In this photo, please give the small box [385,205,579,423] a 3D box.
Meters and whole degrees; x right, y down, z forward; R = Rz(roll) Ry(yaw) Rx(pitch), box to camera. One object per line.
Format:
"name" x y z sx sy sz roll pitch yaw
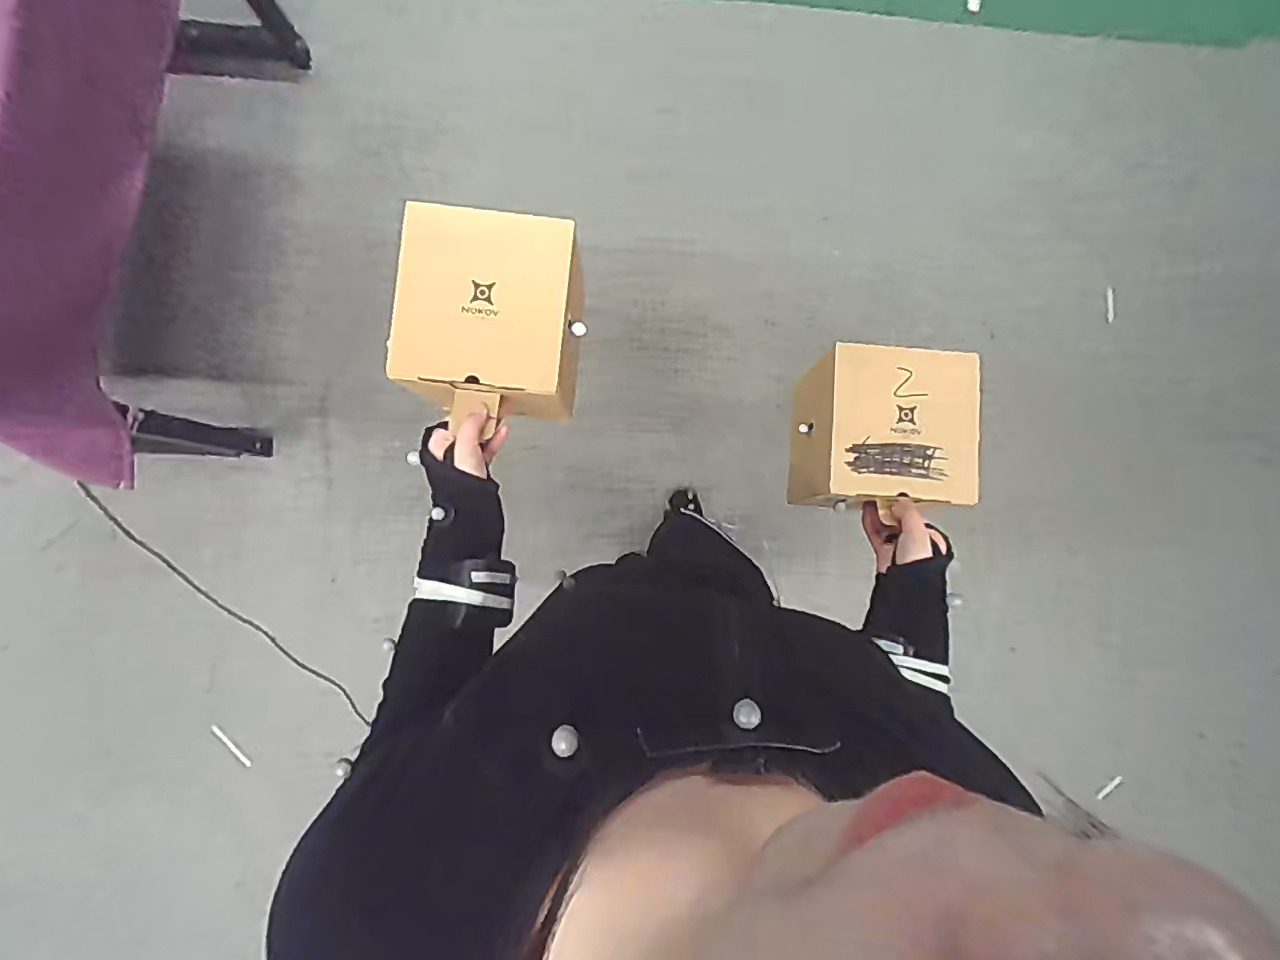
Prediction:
"small box" -0.159 -0.169 0.602 0.168 0.176 0.179 5 88 -3
